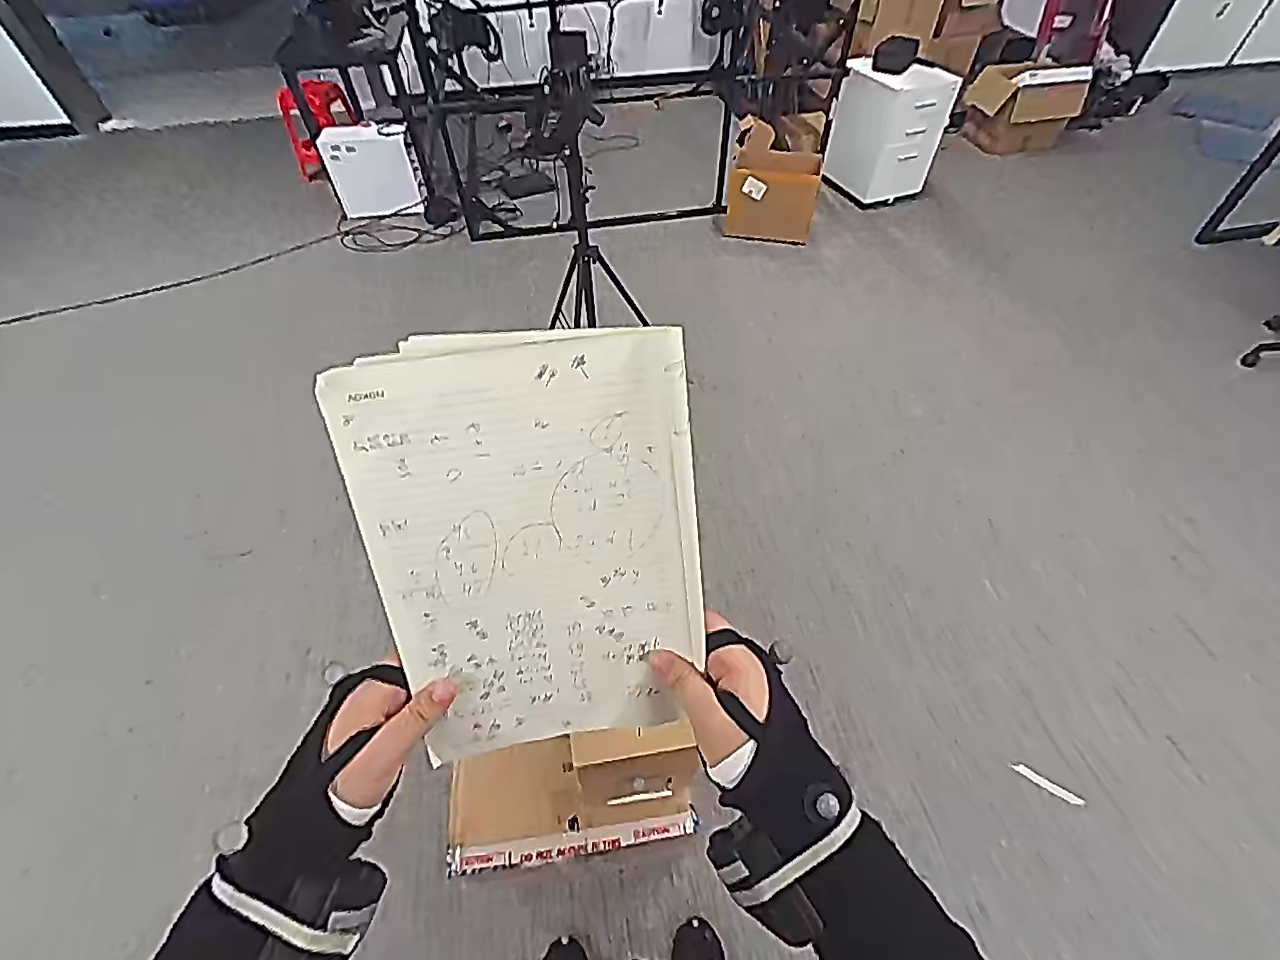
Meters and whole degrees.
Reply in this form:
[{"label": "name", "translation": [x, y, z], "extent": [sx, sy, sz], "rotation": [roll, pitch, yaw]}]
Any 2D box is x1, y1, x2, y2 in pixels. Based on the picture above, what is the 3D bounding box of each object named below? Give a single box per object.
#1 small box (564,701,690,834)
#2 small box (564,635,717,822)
[{"label": "small box", "translation": [-0.017, 0.431, 0.840], "extent": [0.179, 0.176, 0.168], "rotation": [-10, 52, -9]}, {"label": "small box", "translation": [-0.009, 0.328, 0.712], "extent": [0.168, 0.176, 0.179], "rotation": [-7, 53, -7]}]
